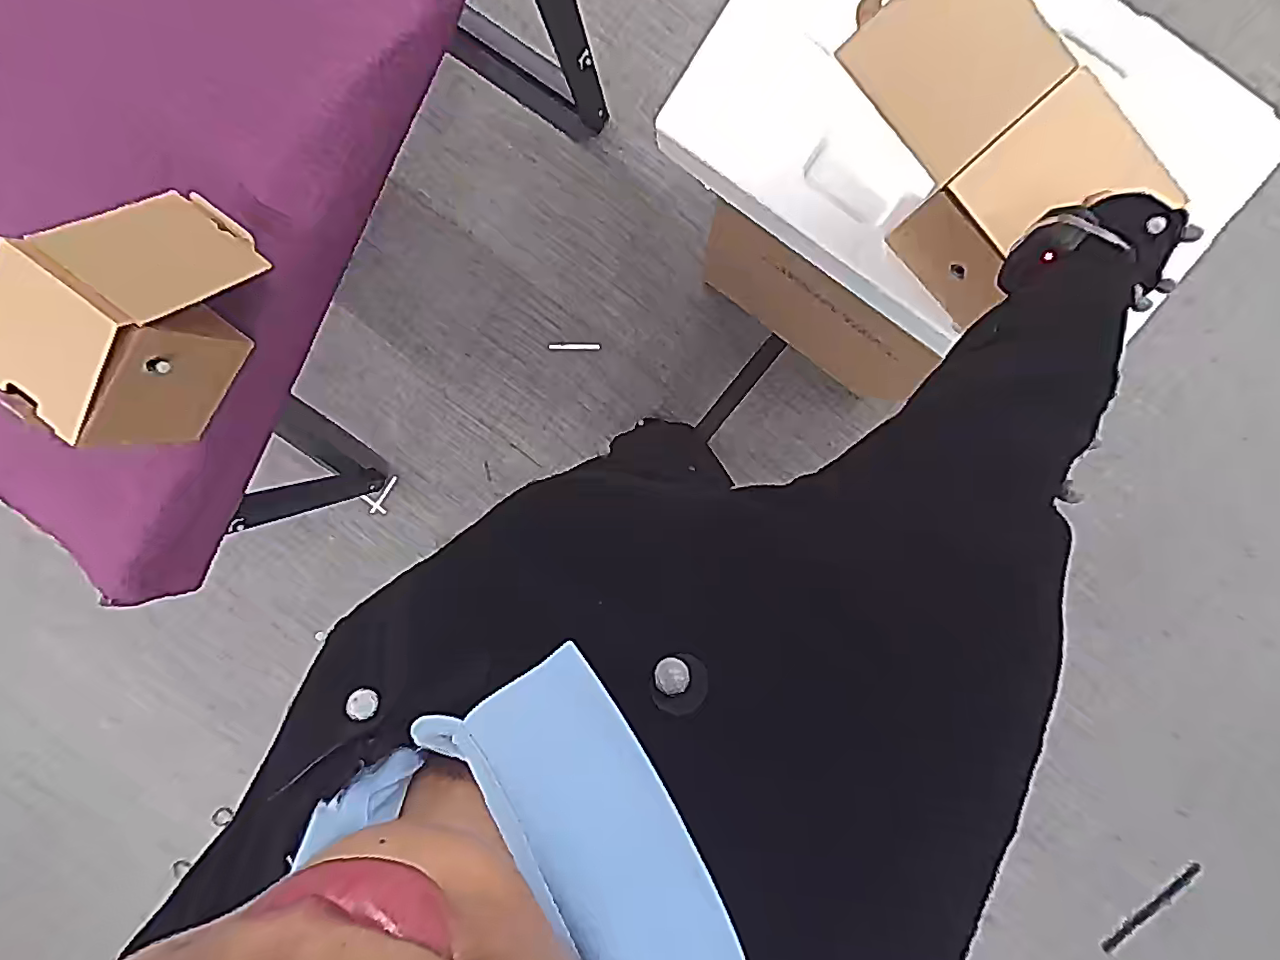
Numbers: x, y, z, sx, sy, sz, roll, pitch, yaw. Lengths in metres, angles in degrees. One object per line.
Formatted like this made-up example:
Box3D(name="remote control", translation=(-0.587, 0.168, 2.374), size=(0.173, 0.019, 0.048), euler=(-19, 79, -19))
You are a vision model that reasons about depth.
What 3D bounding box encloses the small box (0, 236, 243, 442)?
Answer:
Box3D(name="small box", translation=(-0.669, -0.171, 0.700), size=(0.168, 0.176, 0.179), euler=(38, 99, 0))
